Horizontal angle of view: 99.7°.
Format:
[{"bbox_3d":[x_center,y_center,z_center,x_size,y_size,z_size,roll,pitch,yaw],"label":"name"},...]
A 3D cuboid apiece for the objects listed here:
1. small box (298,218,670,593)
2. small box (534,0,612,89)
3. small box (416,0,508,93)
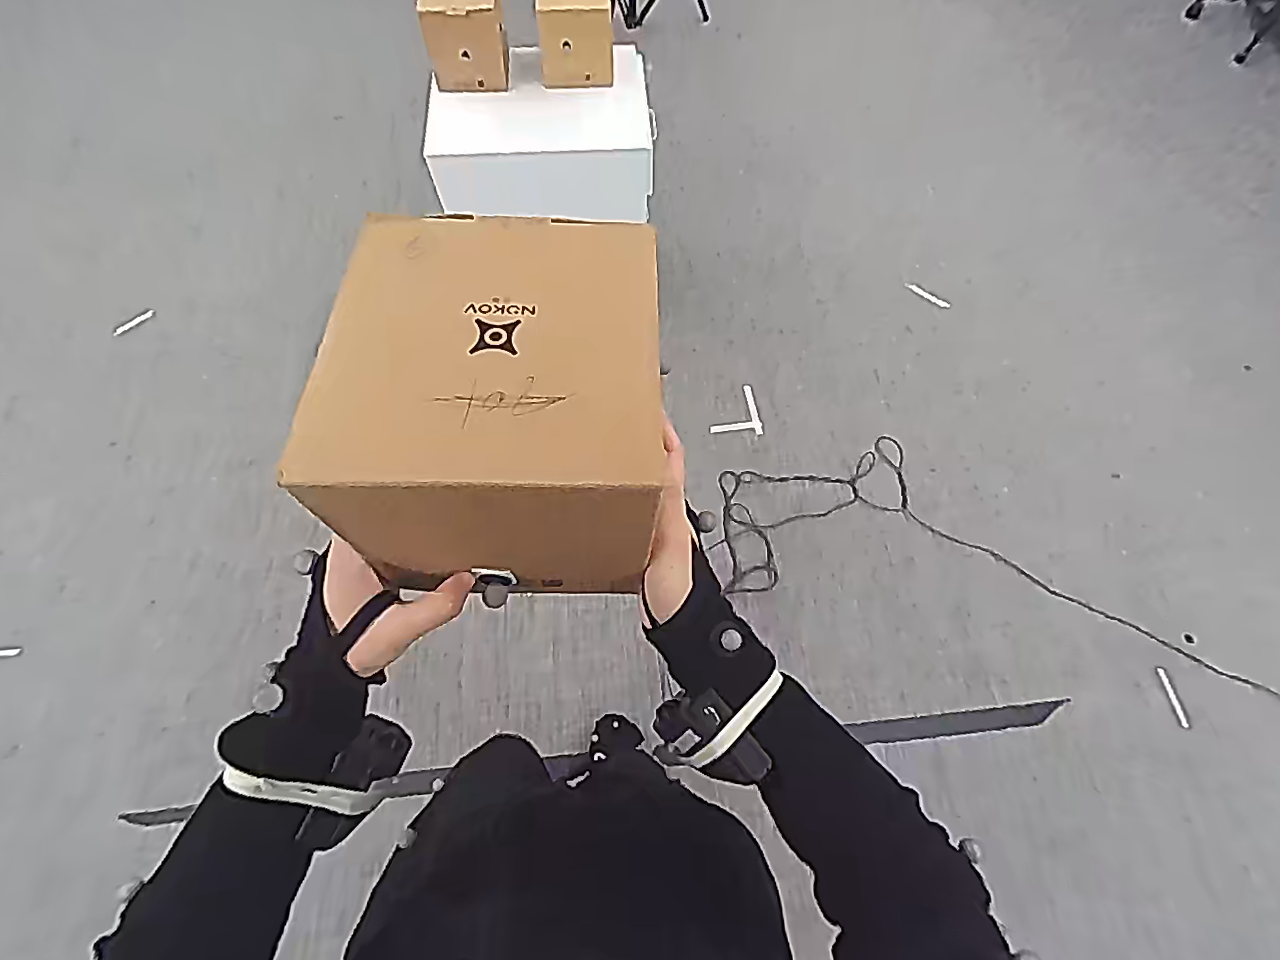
[{"bbox_3d":[-0.073,-0.036,0.347,0.168,0.176,0.179,0,62,-3],"label":"small box"},{"bbox_3d":[-0.155,-1.057,1.274,0.168,0.176,0.179,-4,67,-3],"label":"small box"},{"bbox_3d":[-0.405,-1.036,1.258,0.168,0.176,0.179,-3,68,-4],"label":"small box"}]
